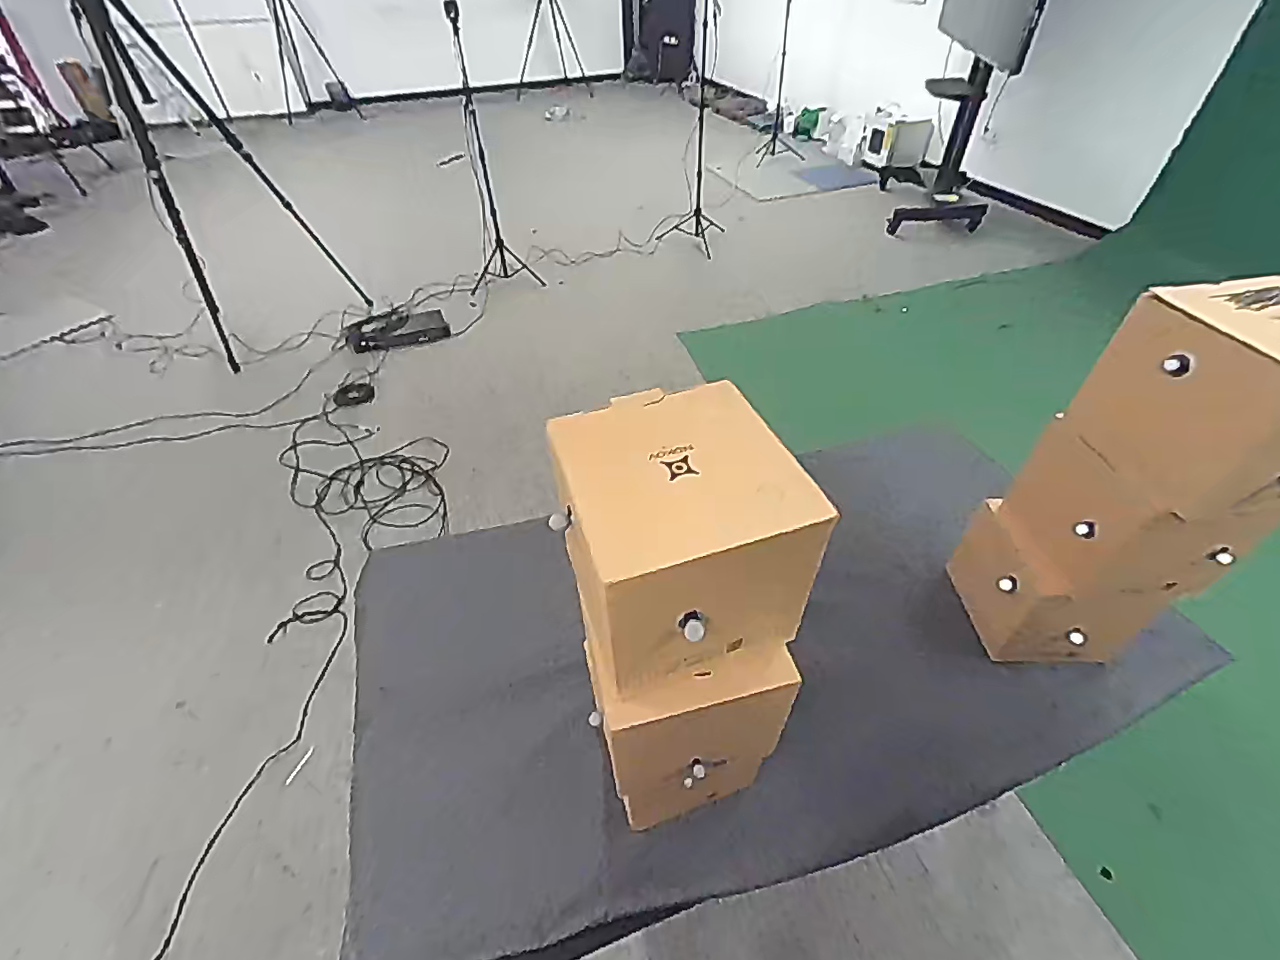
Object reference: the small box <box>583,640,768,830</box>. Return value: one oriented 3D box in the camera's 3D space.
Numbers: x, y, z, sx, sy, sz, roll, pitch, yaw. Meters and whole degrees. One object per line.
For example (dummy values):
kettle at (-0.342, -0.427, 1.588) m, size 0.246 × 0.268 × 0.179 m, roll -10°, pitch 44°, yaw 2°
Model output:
small box at (0.035, 0.291, 0.667) m, size 0.168 × 0.176 × 0.179 m, roll -15°, pitch 45°, yaw -12°

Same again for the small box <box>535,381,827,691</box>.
small box at (0.023, 0.049, 0.445) m, size 0.168 × 0.176 × 0.179 m, roll -15°, pitch 45°, yaw -12°

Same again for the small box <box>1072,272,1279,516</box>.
small box at (0.603, -0.089, 0.547) m, size 0.168 × 0.176 × 0.179 m, roll -8°, pitch 45°, yaw -6°

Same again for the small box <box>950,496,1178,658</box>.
small box at (0.586, 0.141, 0.781) m, size 0.168 × 0.176 × 0.179 m, roll 0°, pitch 43°, yaw 2°

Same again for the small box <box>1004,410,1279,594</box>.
small box at (0.601, 0.027, 0.665) m, size 0.168 × 0.176 × 0.179 m, roll -3°, pitch 42°, yaw -2°
